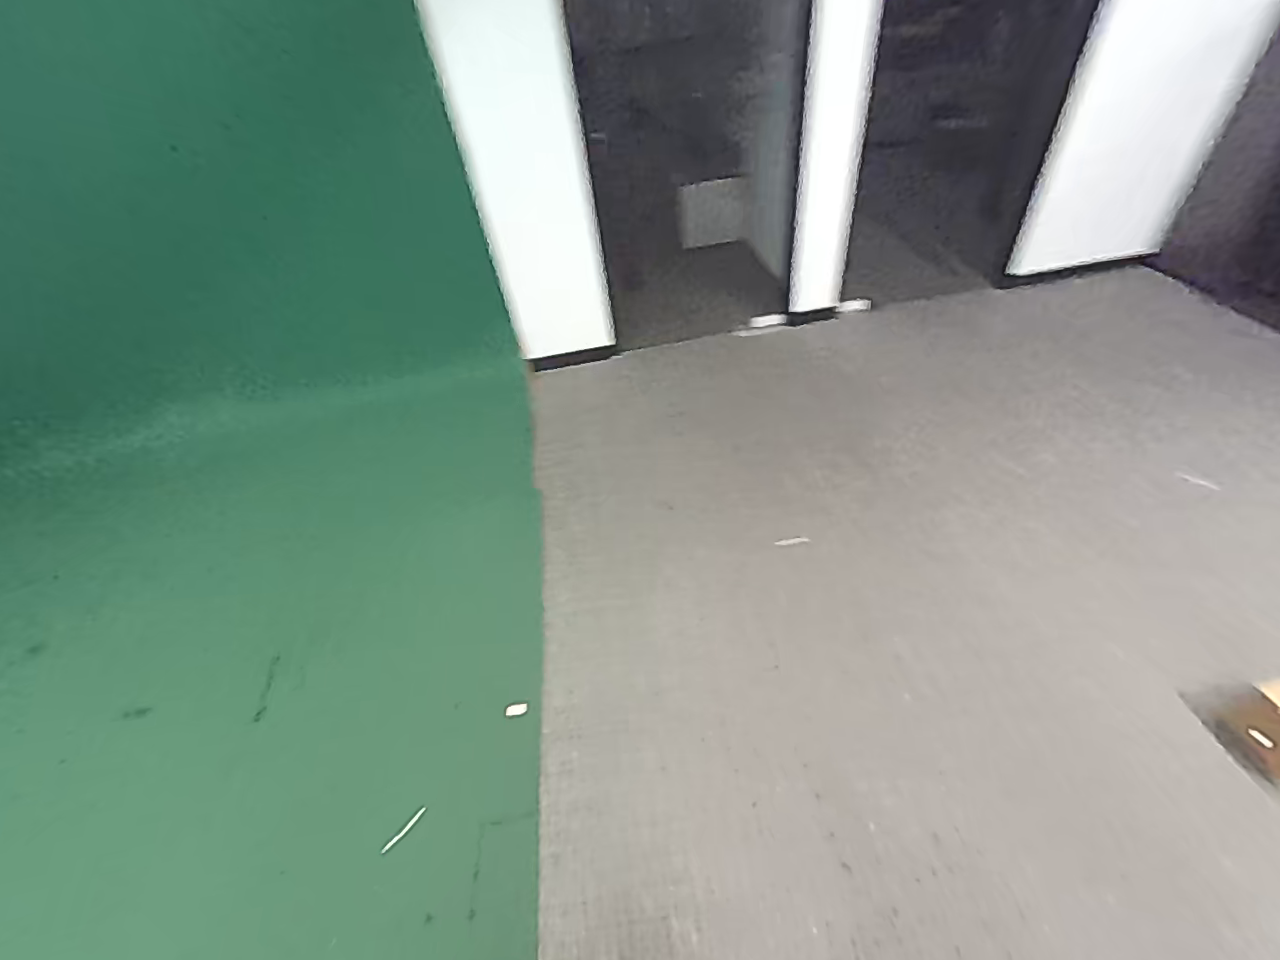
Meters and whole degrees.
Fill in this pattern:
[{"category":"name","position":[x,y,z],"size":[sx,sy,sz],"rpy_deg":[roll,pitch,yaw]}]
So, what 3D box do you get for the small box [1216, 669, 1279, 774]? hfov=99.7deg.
[{"category":"small box","position":[1.491,0.546,1.232],"size":[0.179,0.176,0.168],"rpy_deg":[-10,43,0]}]
